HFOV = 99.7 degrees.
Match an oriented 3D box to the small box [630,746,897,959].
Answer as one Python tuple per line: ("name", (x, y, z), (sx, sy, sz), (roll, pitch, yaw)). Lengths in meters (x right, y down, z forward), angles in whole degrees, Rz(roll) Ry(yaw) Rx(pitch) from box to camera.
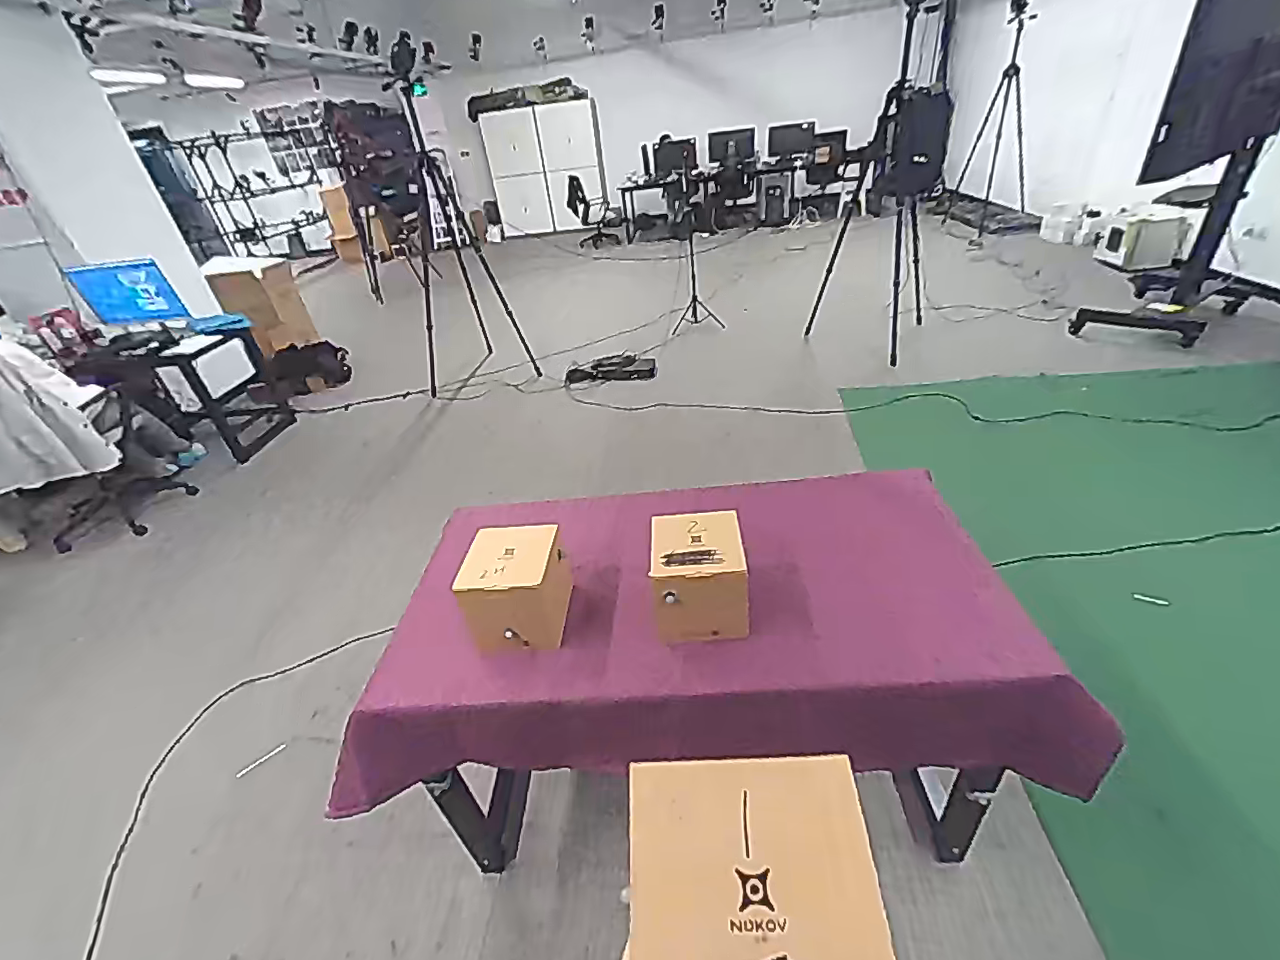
("small box", (0.084, 0.320, 0.415), (0.168, 0.176, 0.179), (-4, 51, 3))

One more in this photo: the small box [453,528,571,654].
("small box", (-0.237, 0.215, 1.058), (0.168, 0.176, 0.179), (-5, 33, 7))
